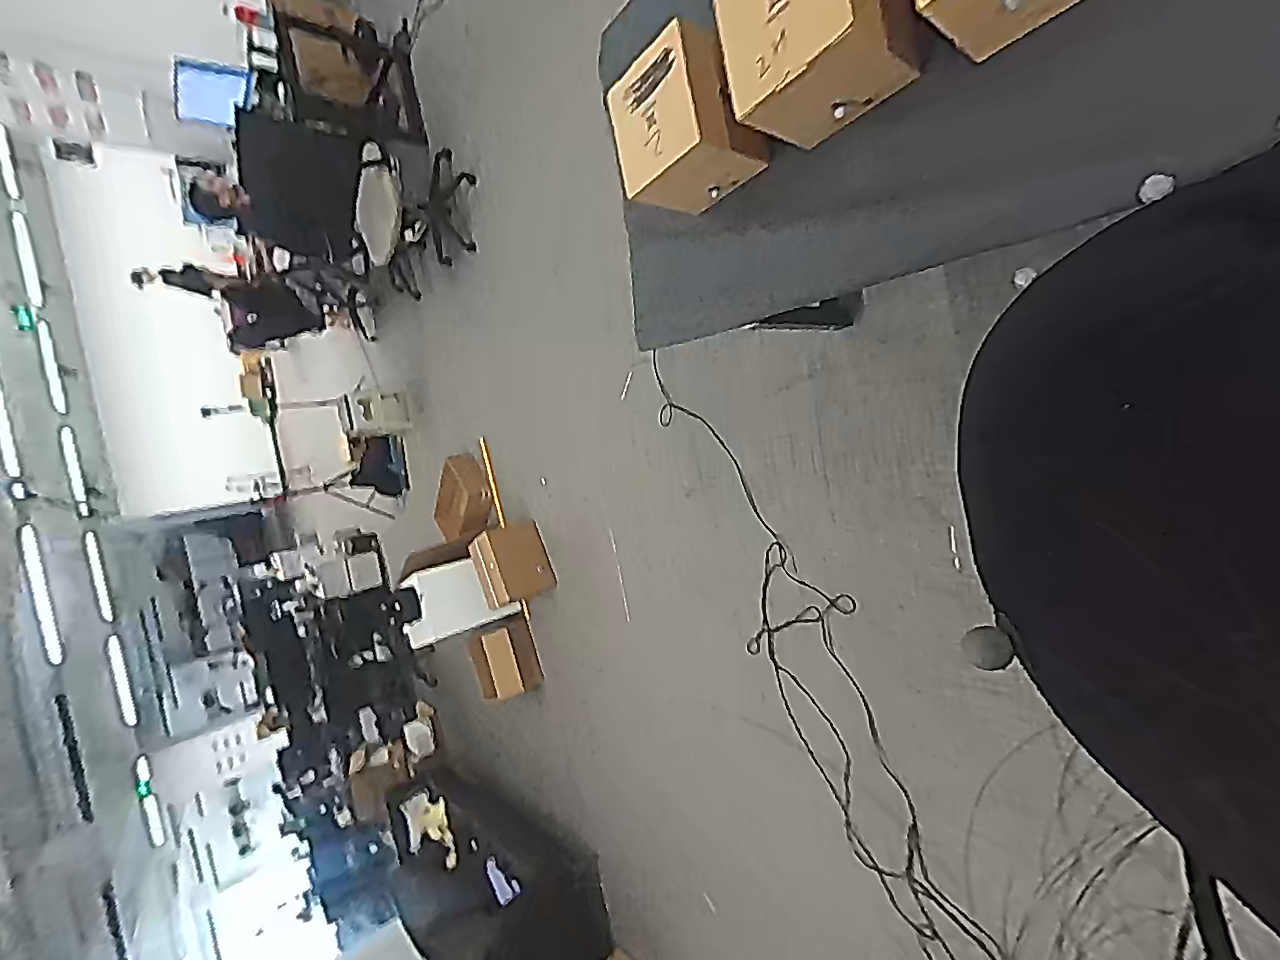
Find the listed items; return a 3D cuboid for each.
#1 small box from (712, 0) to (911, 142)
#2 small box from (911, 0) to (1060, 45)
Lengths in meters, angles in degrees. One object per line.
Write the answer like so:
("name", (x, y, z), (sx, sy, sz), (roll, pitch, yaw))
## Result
("small box", (0.217, -0.574, 0.687), (0.168, 0.176, 0.179), (-10, 92, 51))
("small box", (0.365, -0.567, 0.518), (0.168, 0.176, 0.179), (-9, 92, 51))
